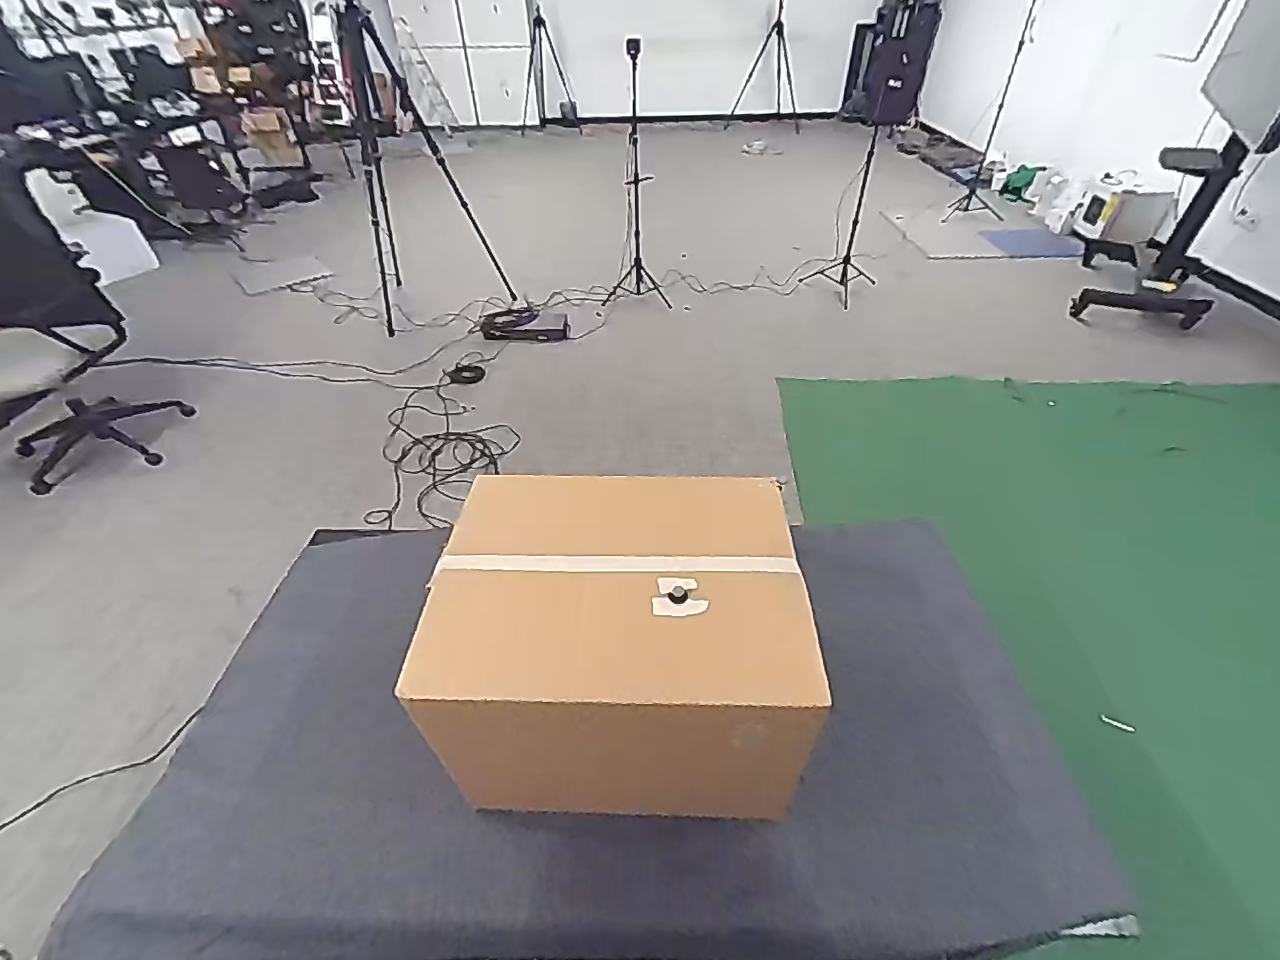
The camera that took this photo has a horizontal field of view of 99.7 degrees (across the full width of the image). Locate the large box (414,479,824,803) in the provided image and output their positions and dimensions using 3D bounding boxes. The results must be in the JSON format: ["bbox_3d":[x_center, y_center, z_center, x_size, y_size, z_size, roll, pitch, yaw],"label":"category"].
[{"bbox_3d":[-0.020,0.212,0.723,0.408,0.320,0.320,0,43,1],"label":"large box"}]
